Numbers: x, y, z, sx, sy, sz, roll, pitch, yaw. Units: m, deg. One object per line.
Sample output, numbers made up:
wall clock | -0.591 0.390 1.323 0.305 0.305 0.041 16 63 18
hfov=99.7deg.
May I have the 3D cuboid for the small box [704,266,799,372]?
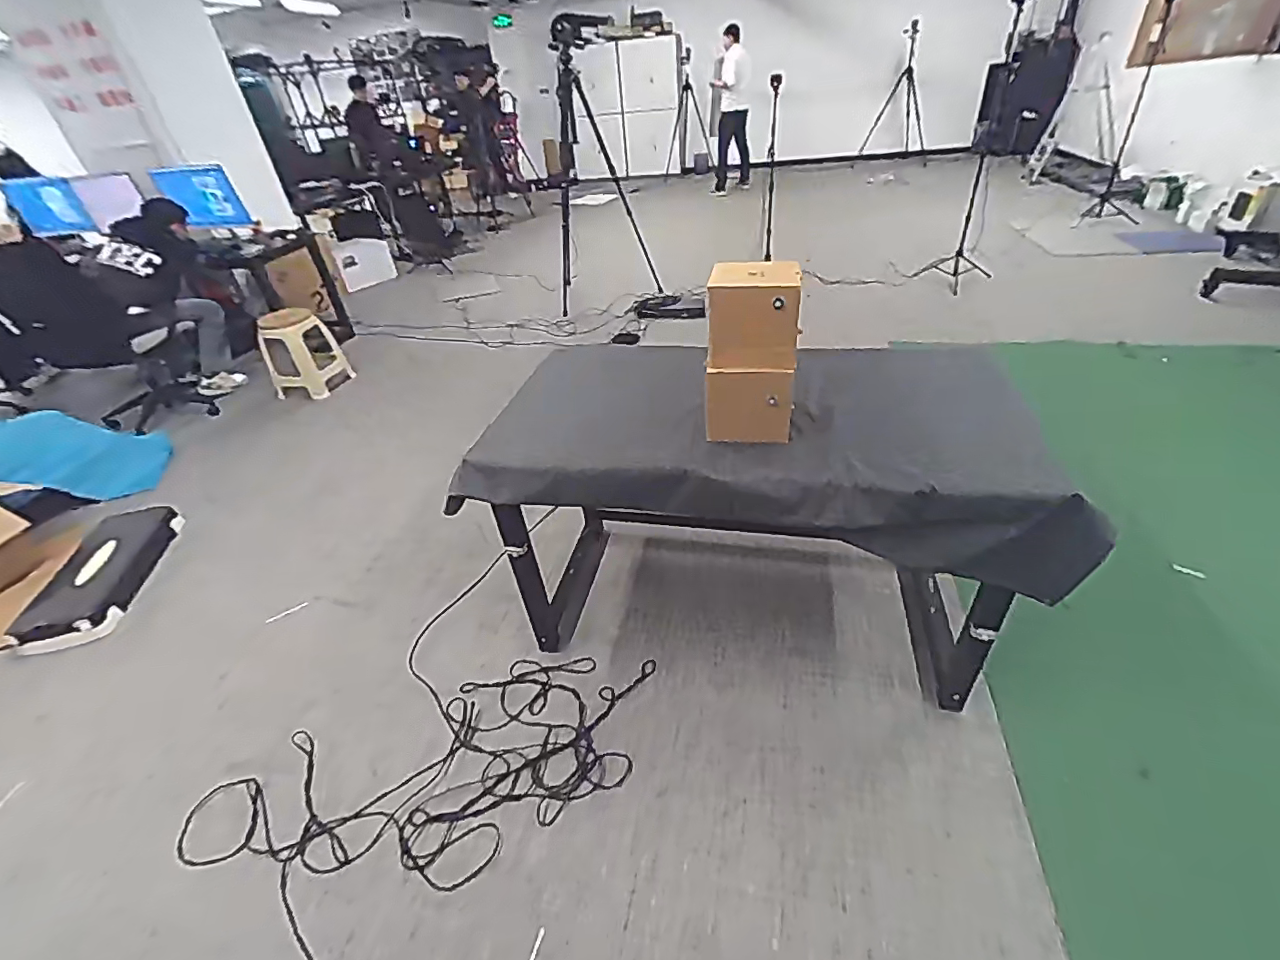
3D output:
small box | 0.229 -0.330 1.109 0.179 0.176 0.168 4 37 12
